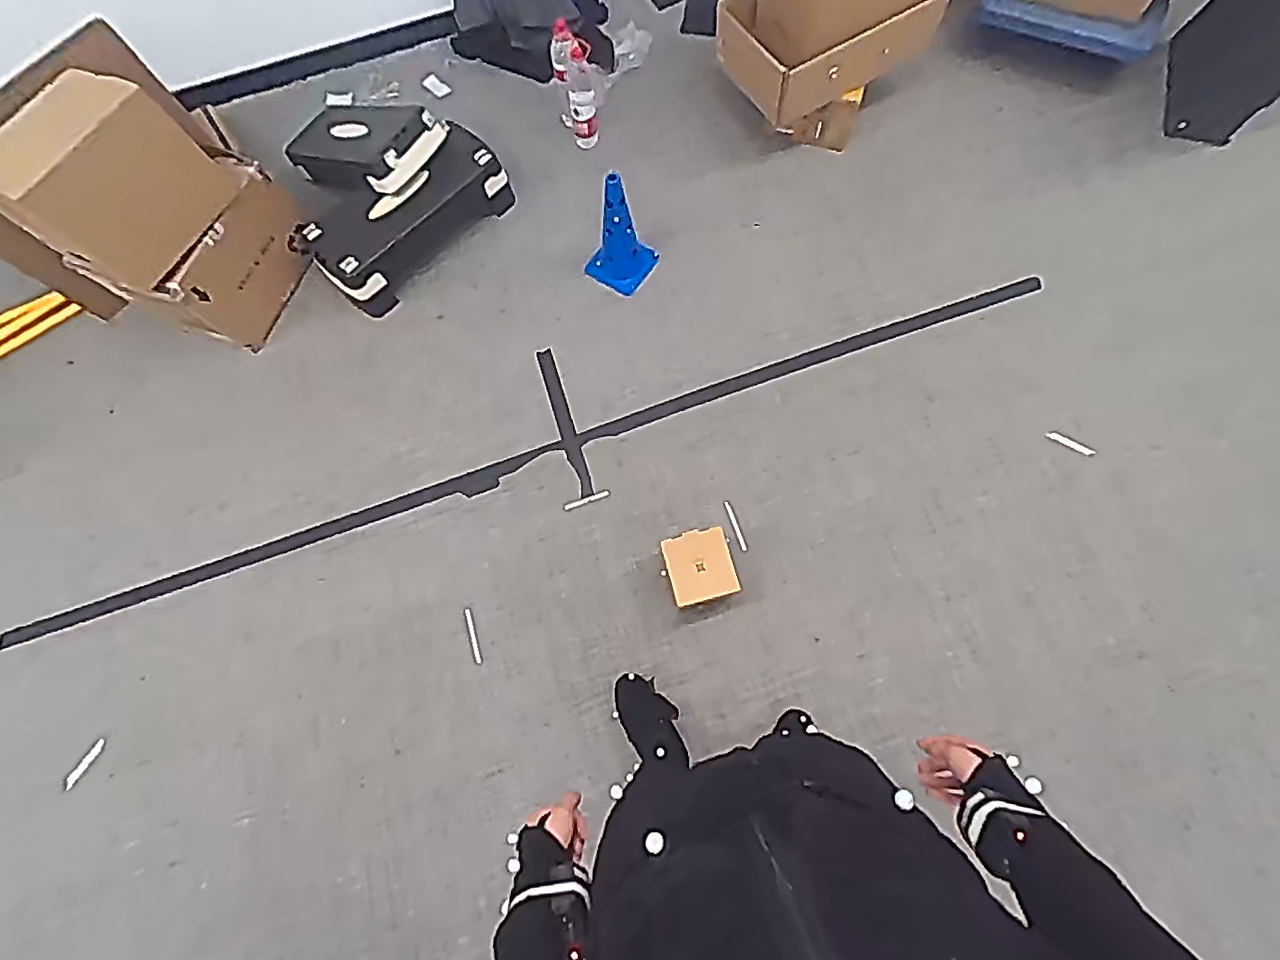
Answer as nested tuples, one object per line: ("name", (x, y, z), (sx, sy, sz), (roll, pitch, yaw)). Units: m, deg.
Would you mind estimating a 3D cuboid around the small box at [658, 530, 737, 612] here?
("small box", (0.150, 0.251, 1.448), (0.168, 0.176, 0.179), (-15, 72, -2))
